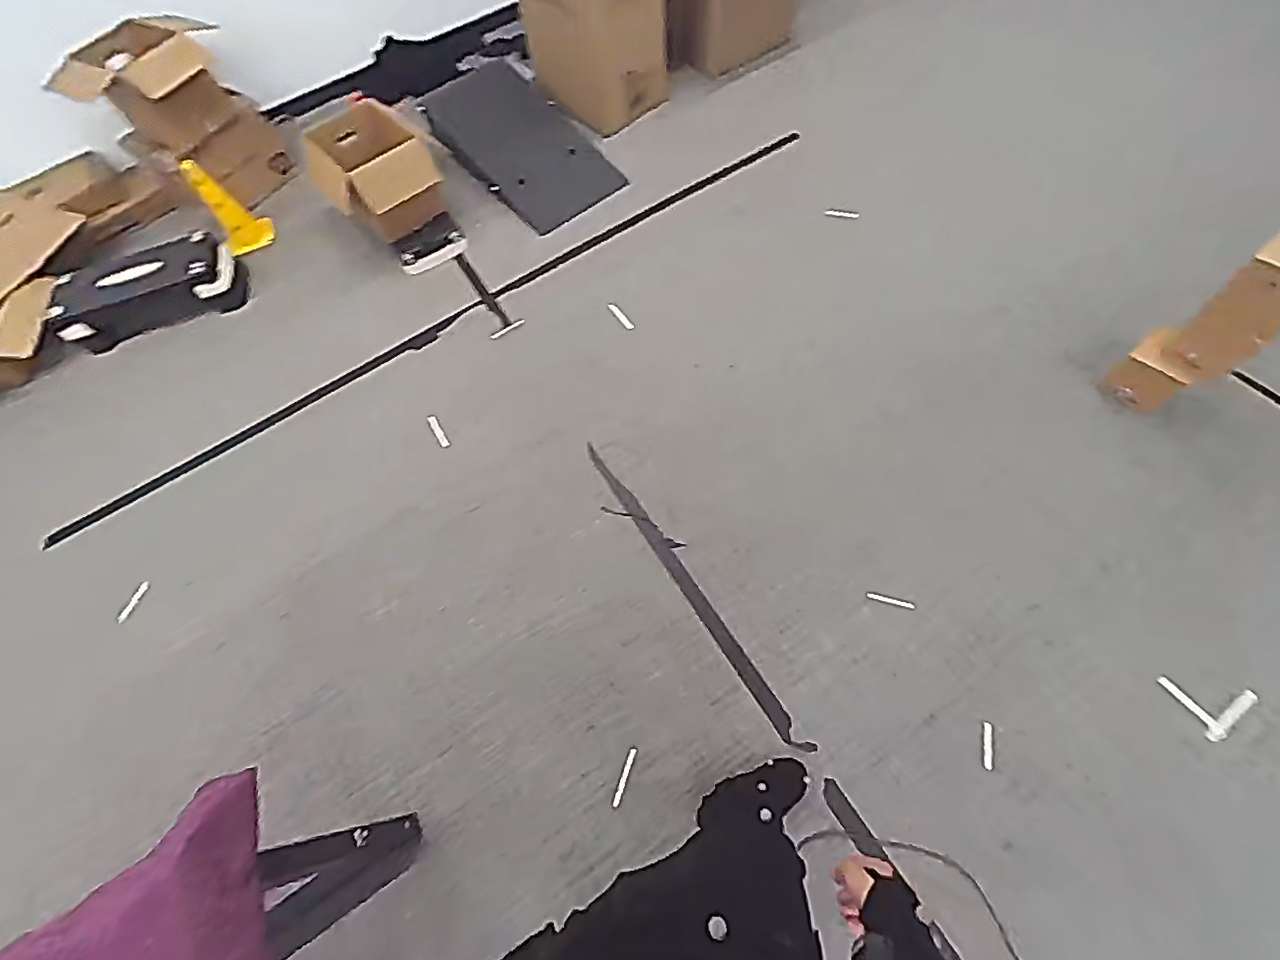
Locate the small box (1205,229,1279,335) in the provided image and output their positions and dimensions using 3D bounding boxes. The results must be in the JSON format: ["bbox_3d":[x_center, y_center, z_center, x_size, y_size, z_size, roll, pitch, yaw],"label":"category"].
[{"bbox_3d":[1.606,-0.500,1.355,0.168,0.176,0.179,-35,64,-12],"label":"small box"}]

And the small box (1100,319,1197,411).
[{"bbox_3d":[1.569,-0.347,1.650,0.179,0.176,0.168,-43,66,-14],"label":"small box"}]

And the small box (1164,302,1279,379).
[{"bbox_3d":[1.630,-0.414,1.494,0.179,0.176,0.168,-29,63,-8],"label":"small box"}]
